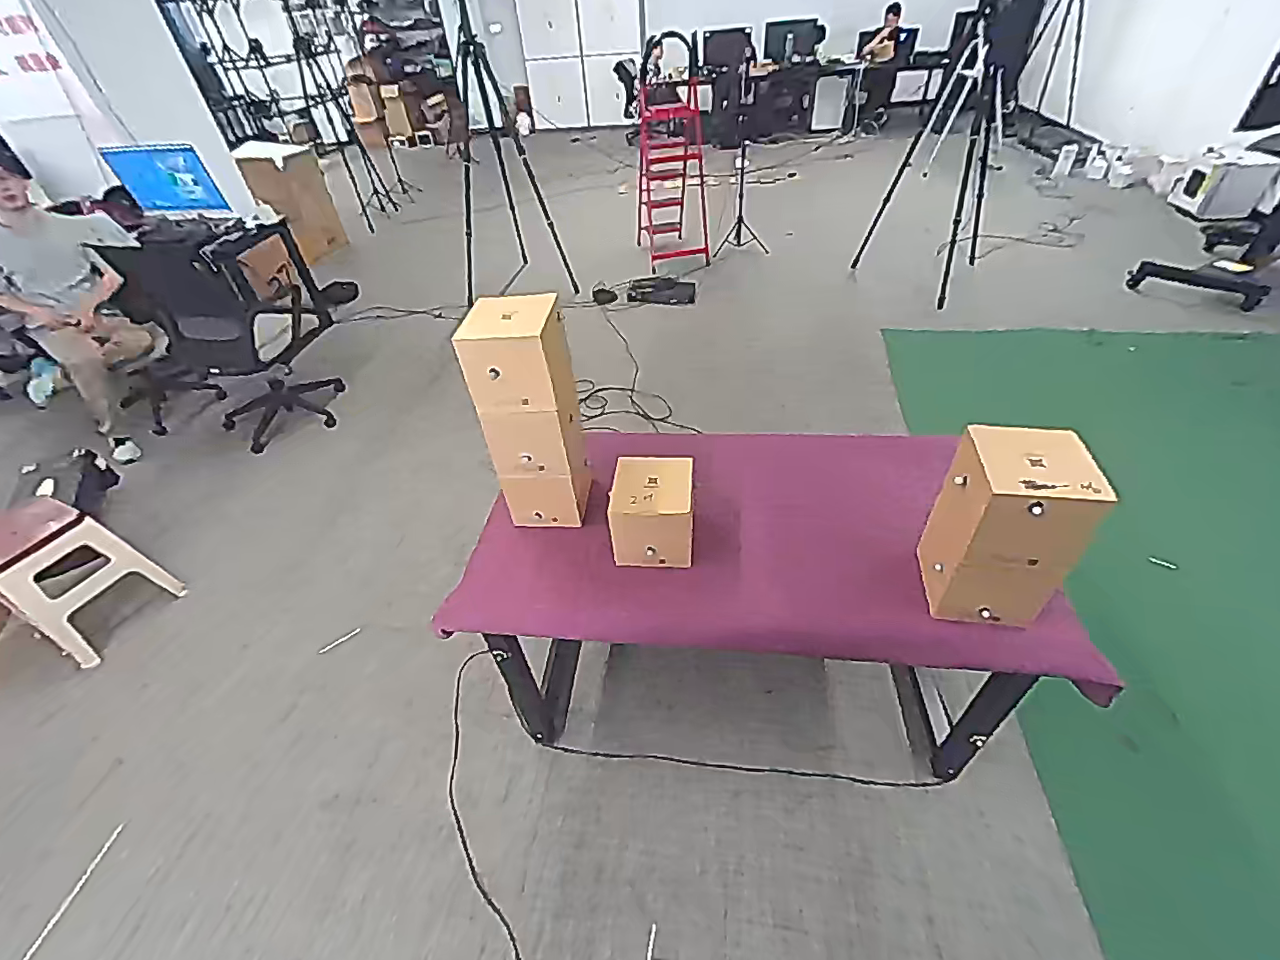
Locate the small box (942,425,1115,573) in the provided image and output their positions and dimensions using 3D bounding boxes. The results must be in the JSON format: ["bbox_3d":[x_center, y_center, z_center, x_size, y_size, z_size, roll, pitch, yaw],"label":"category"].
[{"bbox_3d":[0.628,0.029,0.905,0.168,0.176,0.179,4,42,13],"label":"small box"}]

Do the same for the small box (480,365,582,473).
[{"bbox_3d":[-0.227,-0.134,1.178,0.168,0.176,0.179,0,43,7],"label":"small box"}]

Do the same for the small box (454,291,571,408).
[{"bbox_3d":[-0.240,-0.253,1.069,0.168,0.176,0.179,-1,42,6],"label":"small box"}]

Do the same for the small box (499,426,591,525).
[{"bbox_3d":[-0.216,-0.013,1.288,0.168,0.176,0.179,0,43,7],"label":"small box"}]

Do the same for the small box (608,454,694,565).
[{"bbox_3d":[0.031,0.063,1.179,0.168,0.176,0.179,1,43,8],"label":"small box"}]
